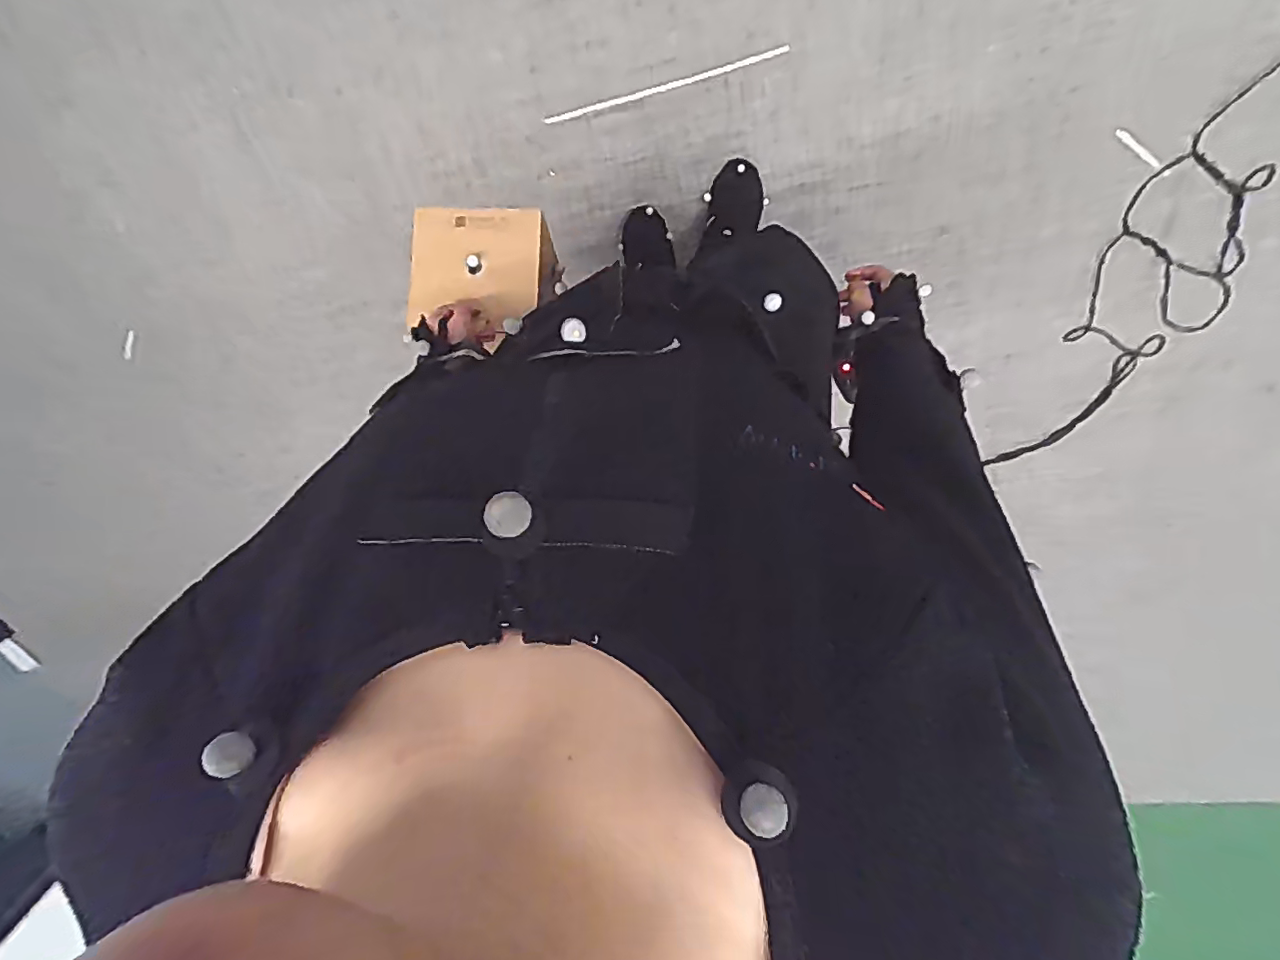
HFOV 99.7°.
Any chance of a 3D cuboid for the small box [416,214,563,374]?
[{"bbox_3d":[-0.204,-0.258,0.772,0.168,0.179,0.176,0,85,1],"label":"small box"}]
